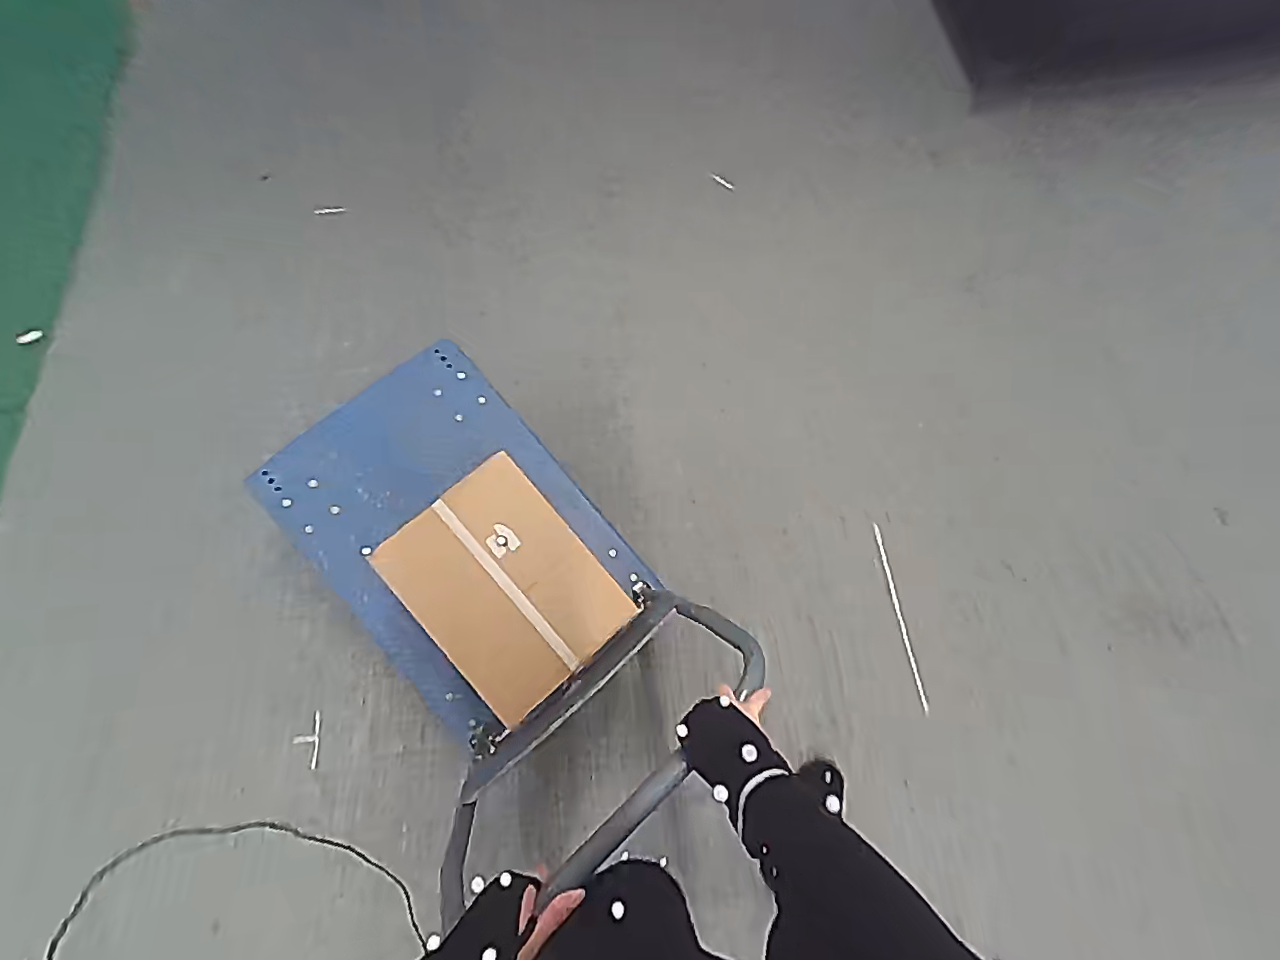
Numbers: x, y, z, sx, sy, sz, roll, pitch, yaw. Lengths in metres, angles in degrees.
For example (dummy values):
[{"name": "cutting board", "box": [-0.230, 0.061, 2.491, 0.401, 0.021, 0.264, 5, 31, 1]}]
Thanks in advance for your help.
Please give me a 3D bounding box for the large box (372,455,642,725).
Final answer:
[{"name": "large box", "box": [-0.254, 0.218, 1.130, 0.320, 0.320, 0.408, -41, 87, -13]}]
